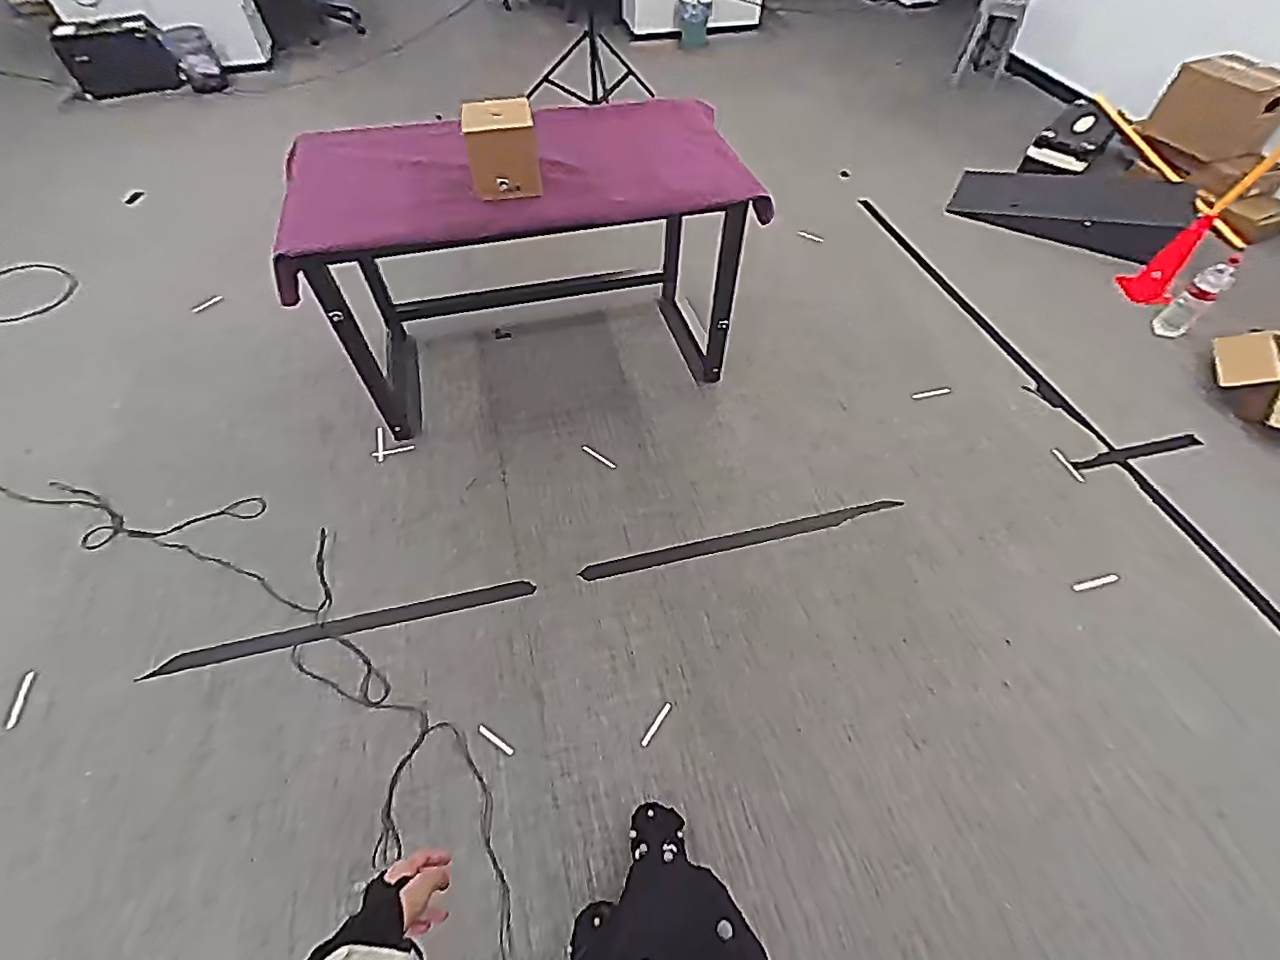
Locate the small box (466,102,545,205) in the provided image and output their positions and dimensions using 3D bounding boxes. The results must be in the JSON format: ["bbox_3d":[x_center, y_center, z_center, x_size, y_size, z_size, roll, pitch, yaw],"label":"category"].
[{"bbox_3d":[-0.341,-0.834,1.383,0.168,0.176,0.179,-10,55,-7],"label":"small box"}]
